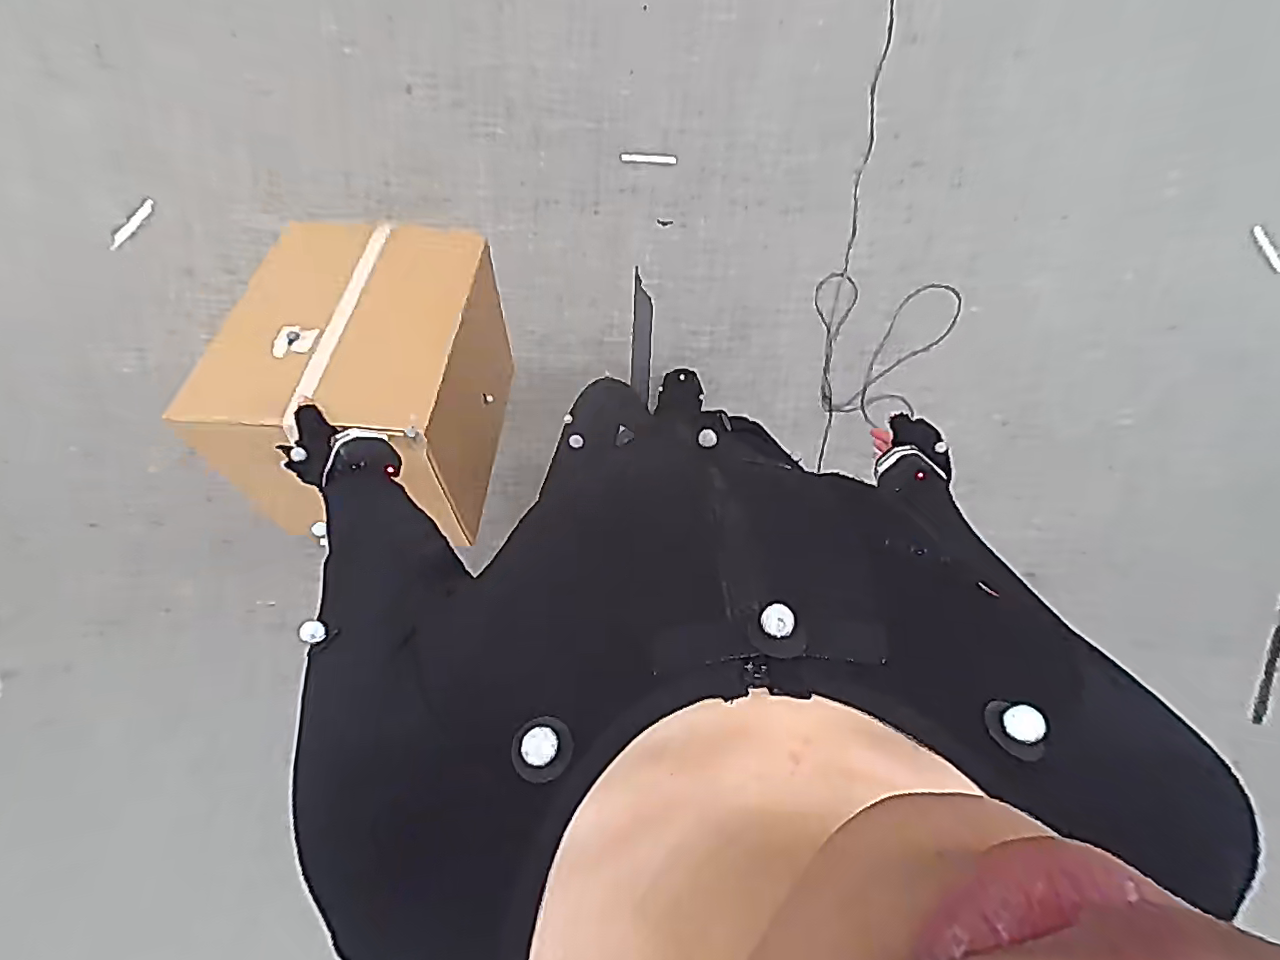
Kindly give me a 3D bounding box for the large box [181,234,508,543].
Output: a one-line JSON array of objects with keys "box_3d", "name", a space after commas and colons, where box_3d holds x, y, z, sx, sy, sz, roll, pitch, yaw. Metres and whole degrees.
[{"box_3d": [-0.421, -0.147, 0.903, 0.320, 0.320, 0.408, 3, 57, 0], "name": "large box"}]
